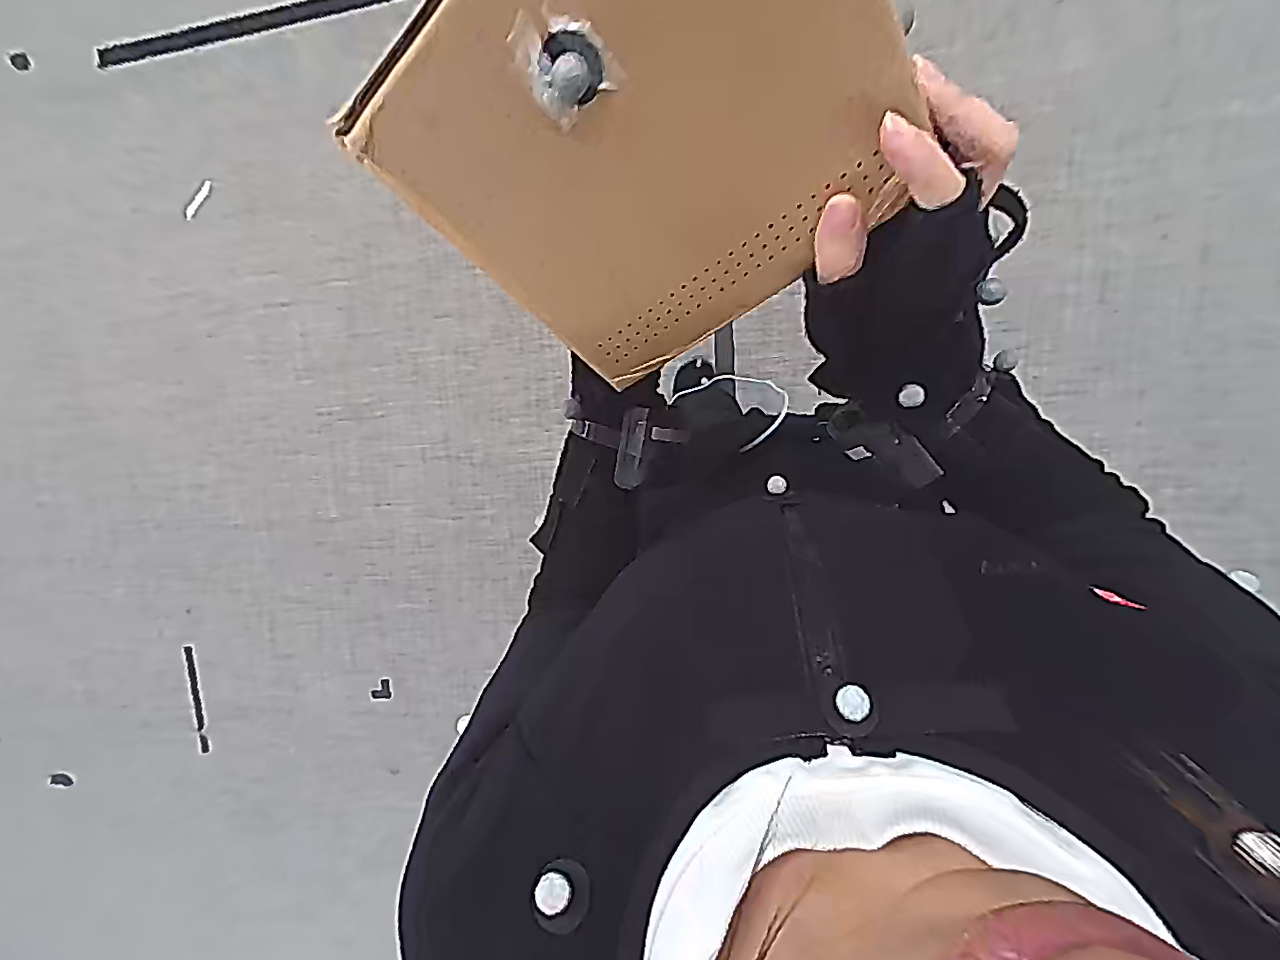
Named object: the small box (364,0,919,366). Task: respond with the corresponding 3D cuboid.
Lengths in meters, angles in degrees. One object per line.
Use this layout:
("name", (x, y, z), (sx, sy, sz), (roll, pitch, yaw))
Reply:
("small box", (0.005, -0.191, 0.272), (0.179, 0.168, 0.176), (-28, 137, 27))
